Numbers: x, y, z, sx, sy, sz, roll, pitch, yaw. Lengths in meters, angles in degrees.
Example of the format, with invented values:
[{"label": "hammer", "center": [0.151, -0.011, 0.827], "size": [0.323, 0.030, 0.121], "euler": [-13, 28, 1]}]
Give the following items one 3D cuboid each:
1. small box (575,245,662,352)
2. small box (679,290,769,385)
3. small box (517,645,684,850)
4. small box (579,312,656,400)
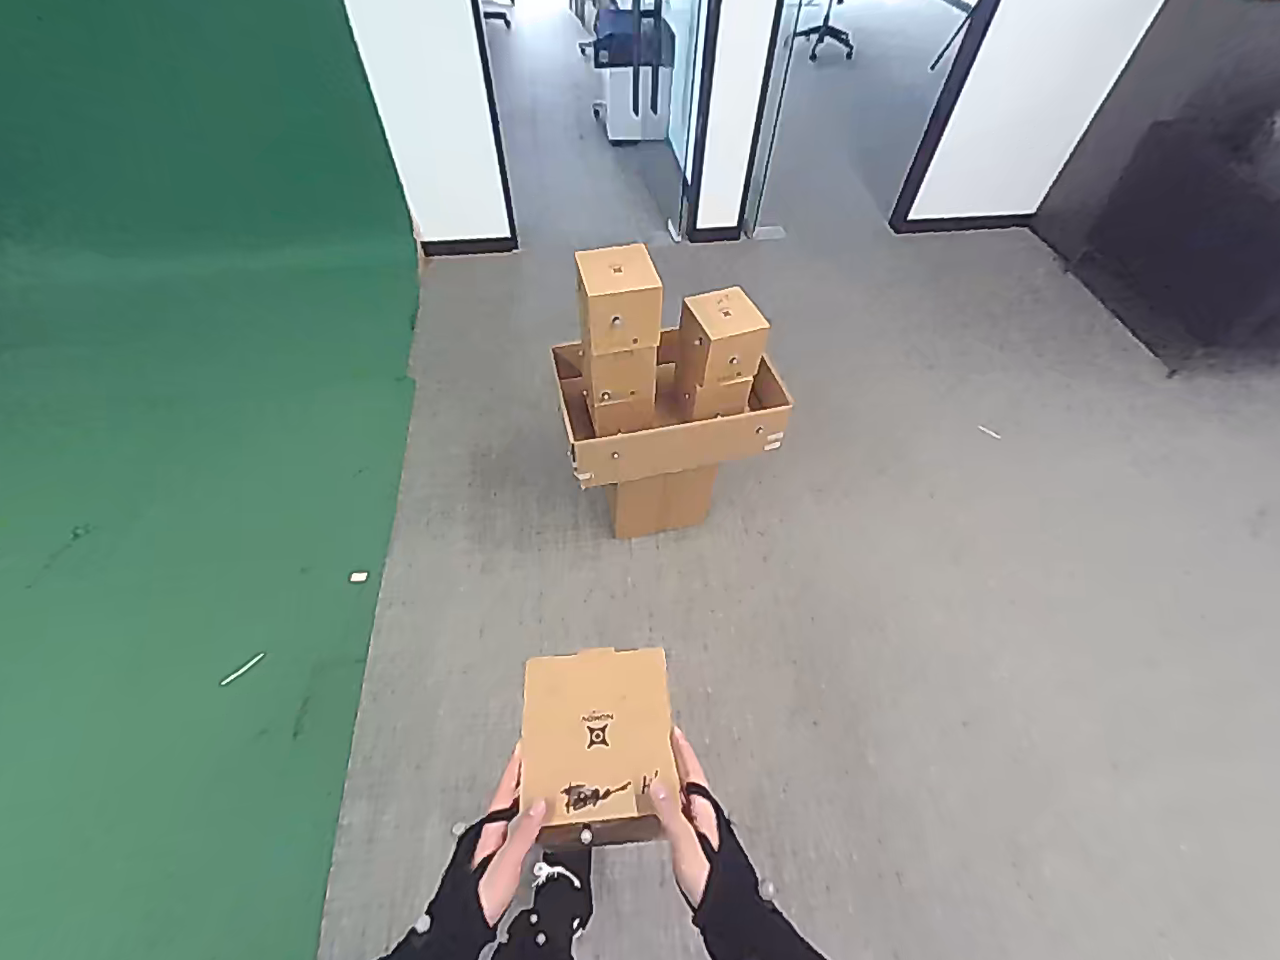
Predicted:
[{"label": "small box", "center": [-0.049, -0.412, 1.249], "size": [0.168, 0.176, 0.179], "euler": [-11, 54, -9]}, {"label": "small box", "center": [0.215, -0.370, 1.429], "size": [0.168, 0.176, 0.179], "euler": [-16, 56, -14]}, {"label": "small box", "center": [-0.044, 0.316, 0.639], "size": [0.168, 0.176, 0.179], "euler": [-3, 49, -3]}, {"label": "small box", "center": [-0.057, -0.319, 1.382], "size": [0.168, 0.176, 0.179], "euler": [-9, 53, -8]}]
